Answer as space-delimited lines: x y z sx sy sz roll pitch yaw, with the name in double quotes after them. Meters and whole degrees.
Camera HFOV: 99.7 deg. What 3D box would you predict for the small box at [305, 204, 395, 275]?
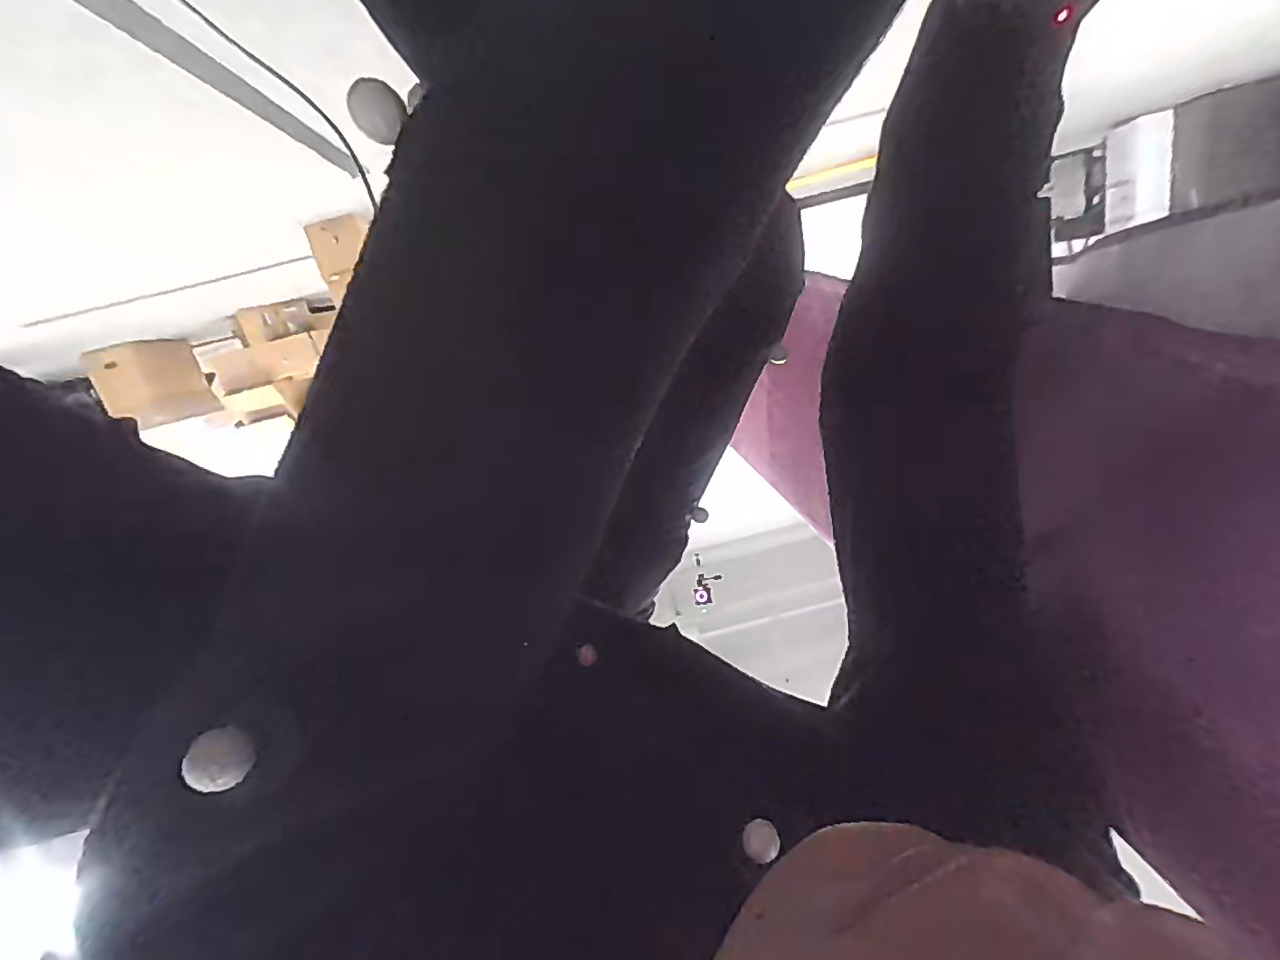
-0.910 -0.756 1.707 0.168 0.176 0.179 -13 -162 3 "small box"
